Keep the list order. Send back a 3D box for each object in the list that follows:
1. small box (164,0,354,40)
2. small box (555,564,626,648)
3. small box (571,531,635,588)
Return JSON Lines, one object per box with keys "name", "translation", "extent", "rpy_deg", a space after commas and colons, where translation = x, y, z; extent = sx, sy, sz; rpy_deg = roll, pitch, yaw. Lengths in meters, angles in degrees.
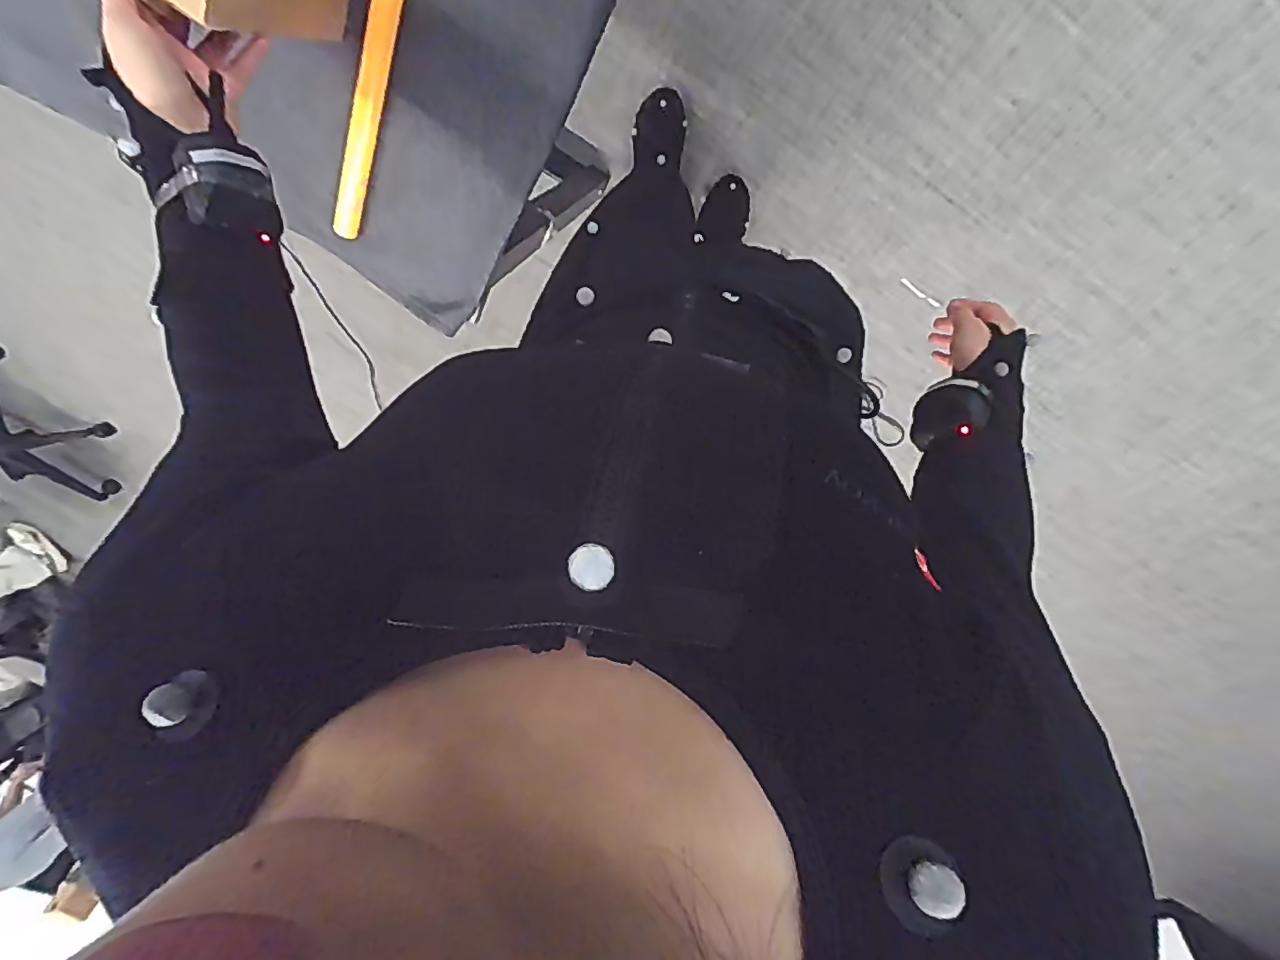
{"name": "small box", "translation": [-0.326, -0.475, 0.406], "extent": [0.168, 0.176, 0.179], "rpy_deg": [31, 126, -12]}
{"name": "small box", "translation": [-0.153, 0.400, 1.738], "extent": [0.168, 0.176, 0.179], "rpy_deg": [25, 128, -7]}
{"name": "small box", "translation": [-0.127, 0.309, 1.874], "extent": [0.168, 0.176, 0.179], "rpy_deg": [26, 127, -9]}
